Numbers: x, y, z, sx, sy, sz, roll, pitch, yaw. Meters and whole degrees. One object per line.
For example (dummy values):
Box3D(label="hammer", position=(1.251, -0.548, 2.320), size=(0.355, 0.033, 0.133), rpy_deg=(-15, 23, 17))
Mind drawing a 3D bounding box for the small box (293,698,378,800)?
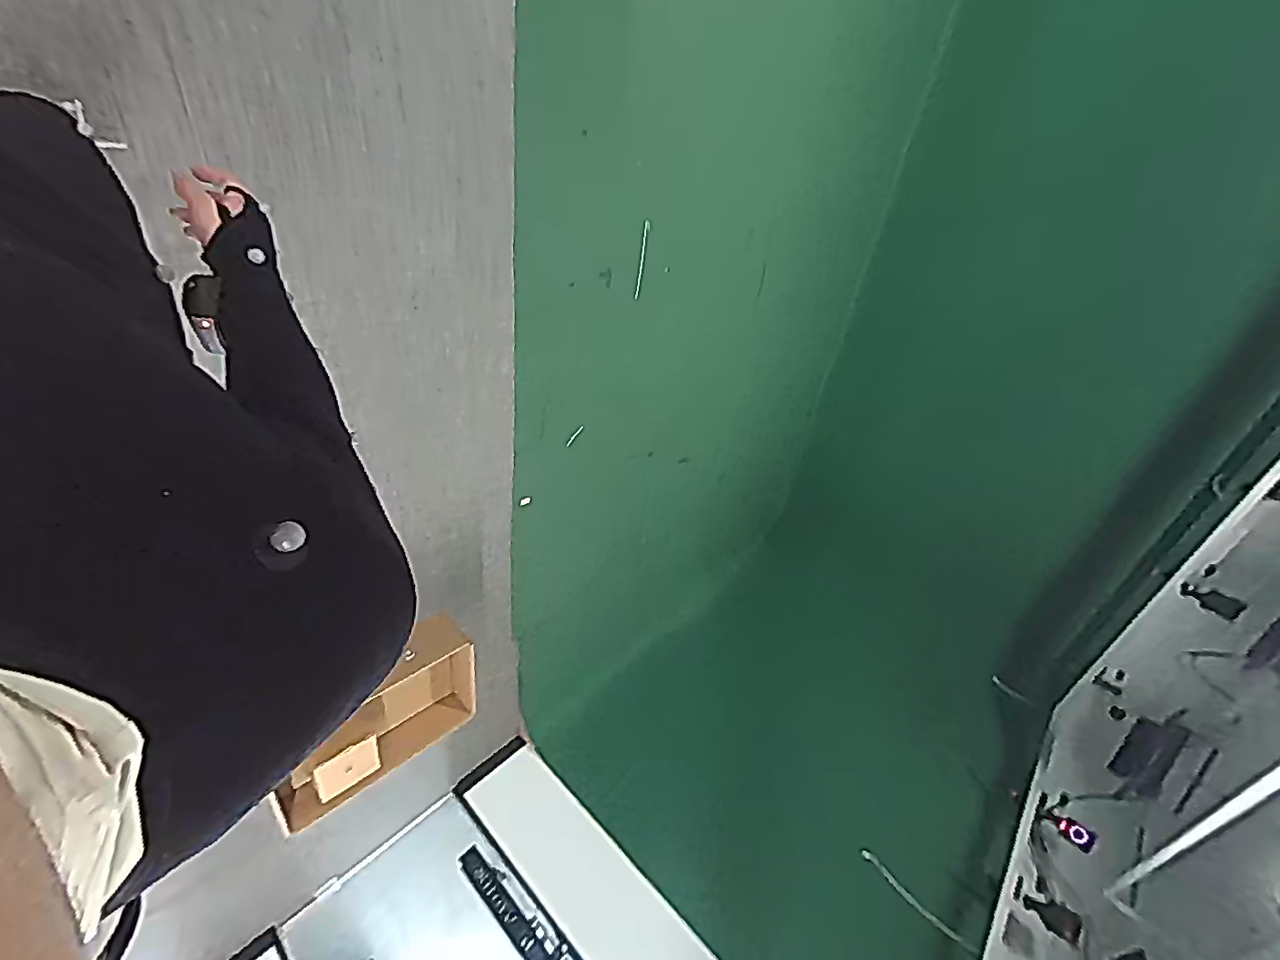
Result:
Box3D(label="small box", position=(-0.903, 0.791, 1.607), size=(0.168, 0.176, 0.179), rpy_deg=(-23, 134, -42))
